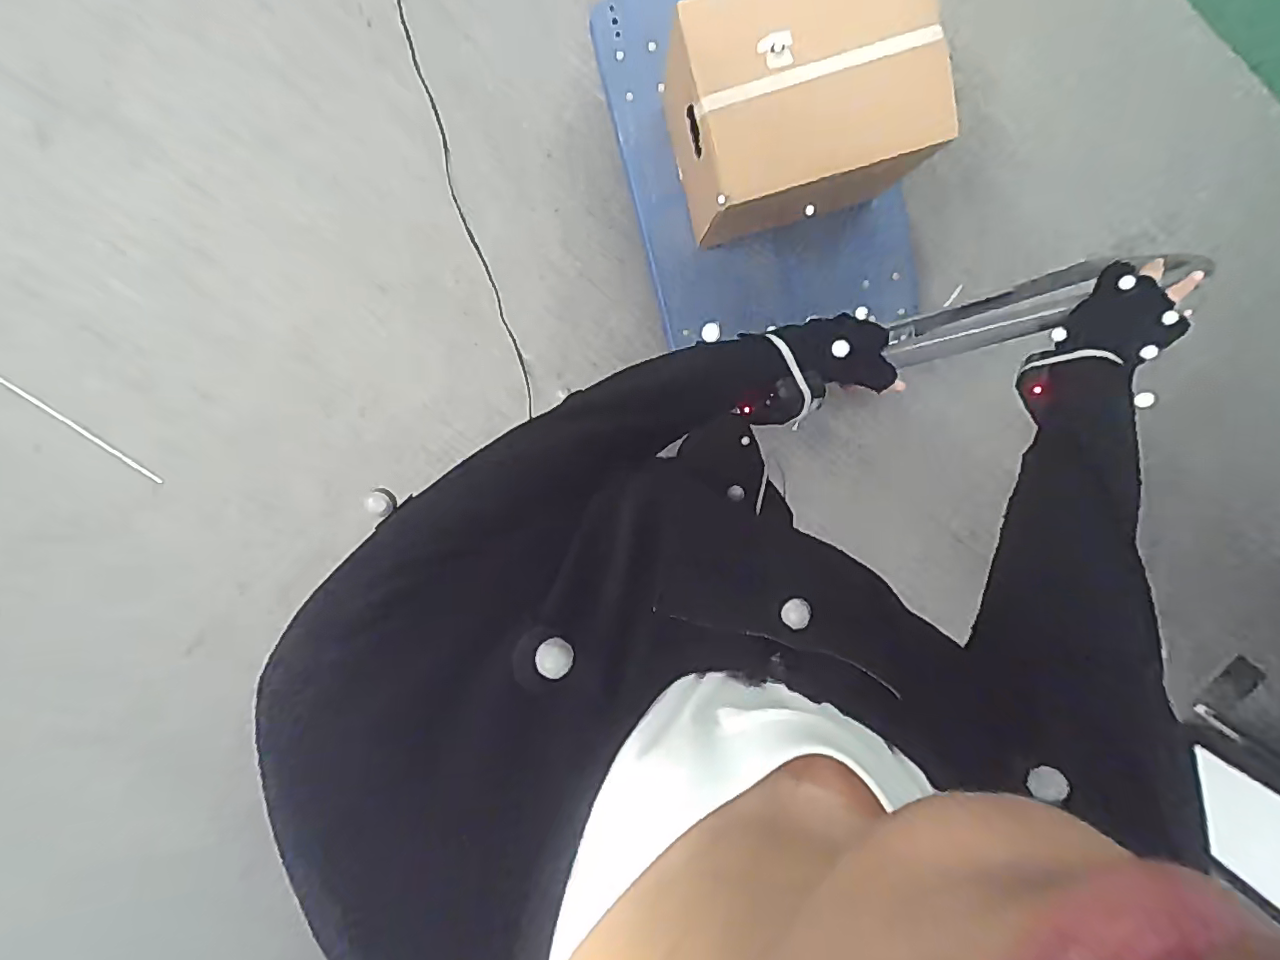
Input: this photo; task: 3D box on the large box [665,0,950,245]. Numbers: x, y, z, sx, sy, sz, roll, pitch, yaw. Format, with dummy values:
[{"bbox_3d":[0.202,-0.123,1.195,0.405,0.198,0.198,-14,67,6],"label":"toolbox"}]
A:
[{"bbox_3d":[0.286,-0.689,1.027,0.408,0.320,0.320,-16,100,2],"label":"large box"}]
